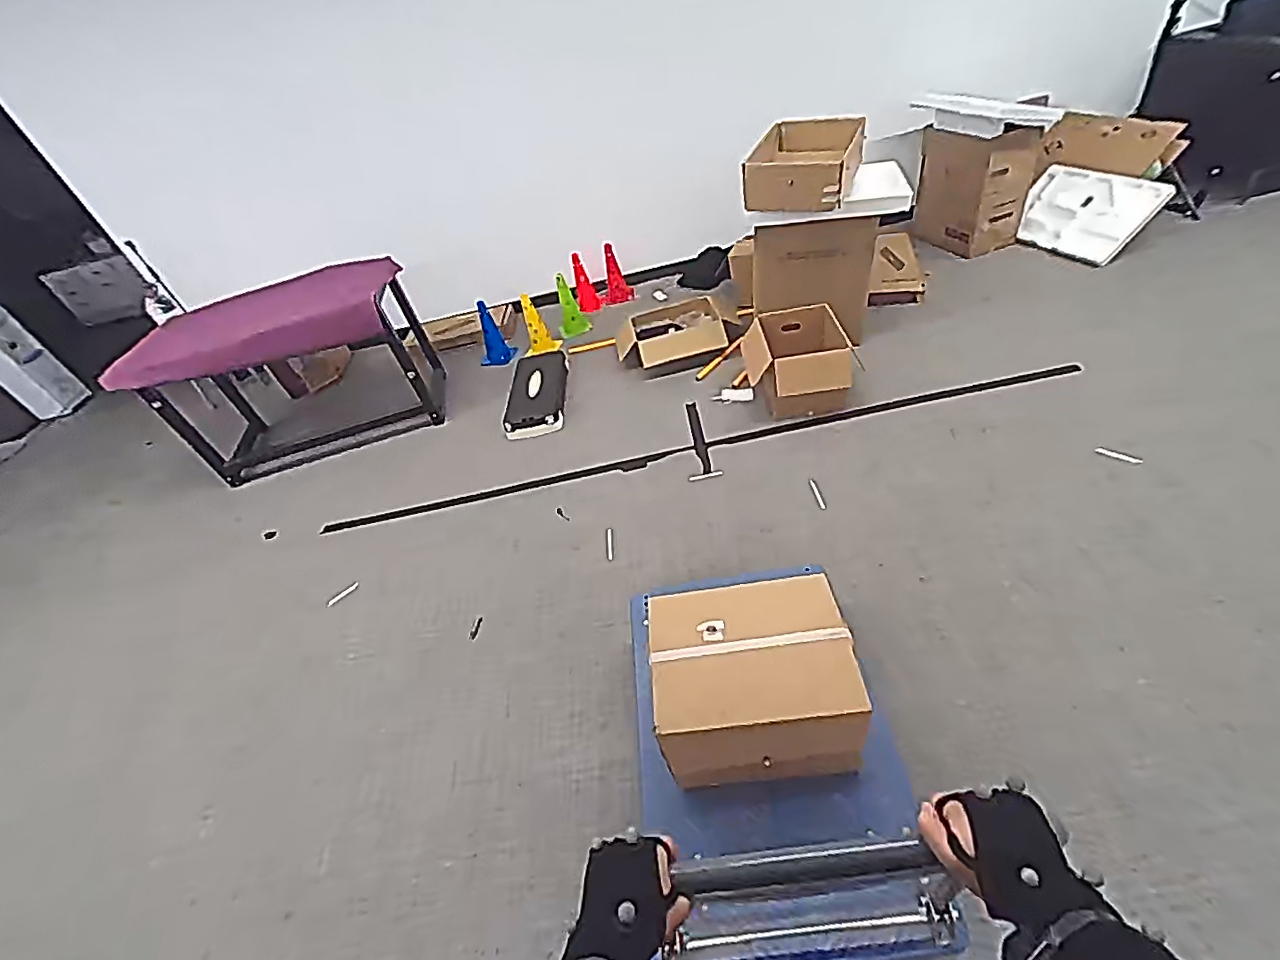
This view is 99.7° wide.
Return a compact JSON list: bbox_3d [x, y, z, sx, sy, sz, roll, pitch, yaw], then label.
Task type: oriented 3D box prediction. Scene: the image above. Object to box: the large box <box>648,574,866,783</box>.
[{"bbox_3d":[0.252,0.455,1.228,0.408,0.320,0.320,-10,41,7],"label":"large box"}]
